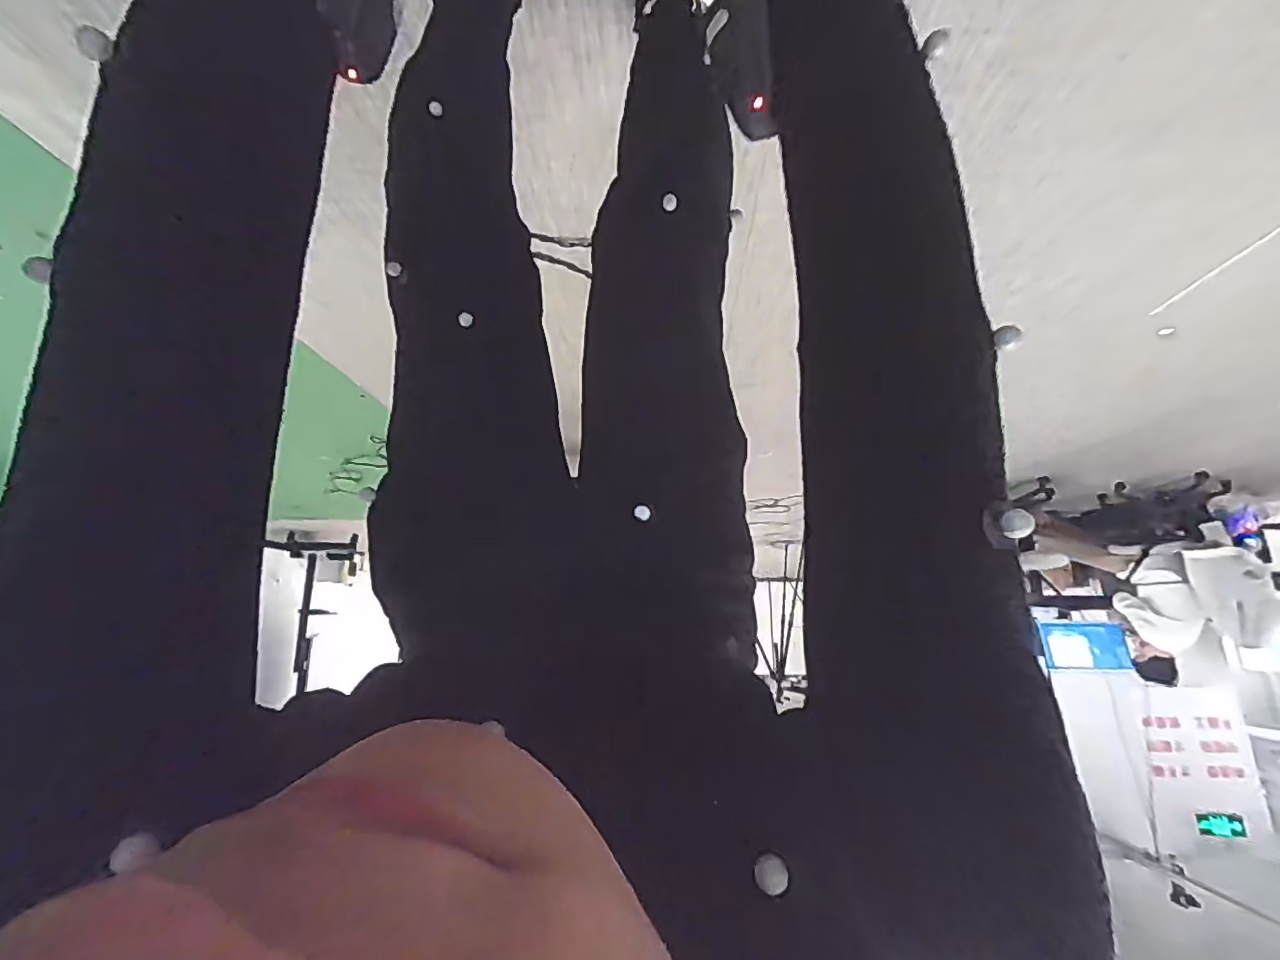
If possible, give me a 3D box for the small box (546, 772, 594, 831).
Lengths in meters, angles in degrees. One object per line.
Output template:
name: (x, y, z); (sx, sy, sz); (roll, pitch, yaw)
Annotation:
small box: (-0.281, 1.298, 2.194); (0.179, 0.176, 0.168); (-1, 166, -1)
